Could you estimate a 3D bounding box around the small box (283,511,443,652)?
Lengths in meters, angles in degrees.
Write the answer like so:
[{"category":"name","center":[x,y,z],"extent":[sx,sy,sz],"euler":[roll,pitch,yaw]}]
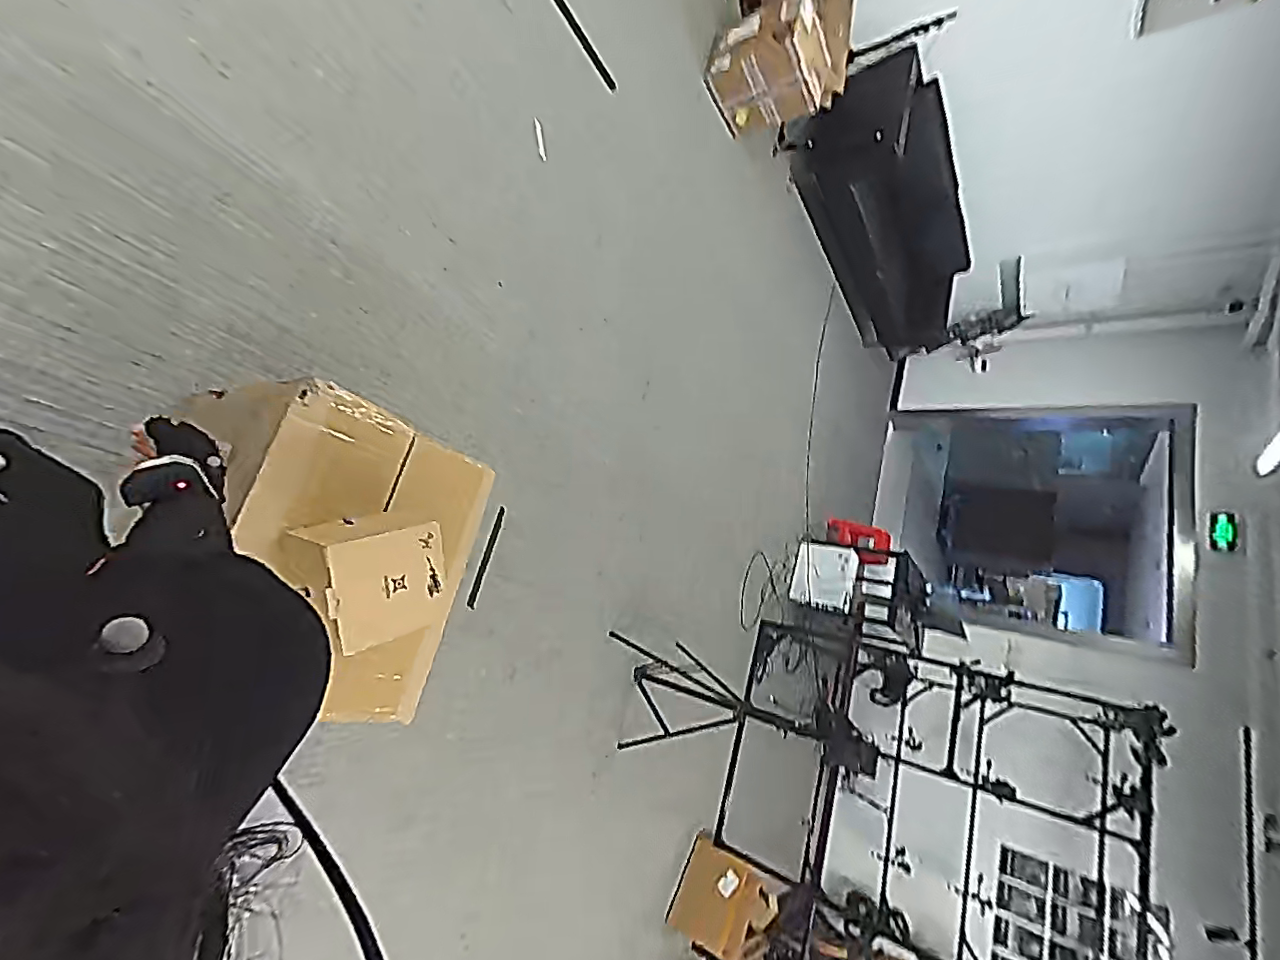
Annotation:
[{"category":"small box","center":[-0.442,0.149,0.859],"extent":[0.179,0.176,0.168],"euler":[-12,103,-50]}]
